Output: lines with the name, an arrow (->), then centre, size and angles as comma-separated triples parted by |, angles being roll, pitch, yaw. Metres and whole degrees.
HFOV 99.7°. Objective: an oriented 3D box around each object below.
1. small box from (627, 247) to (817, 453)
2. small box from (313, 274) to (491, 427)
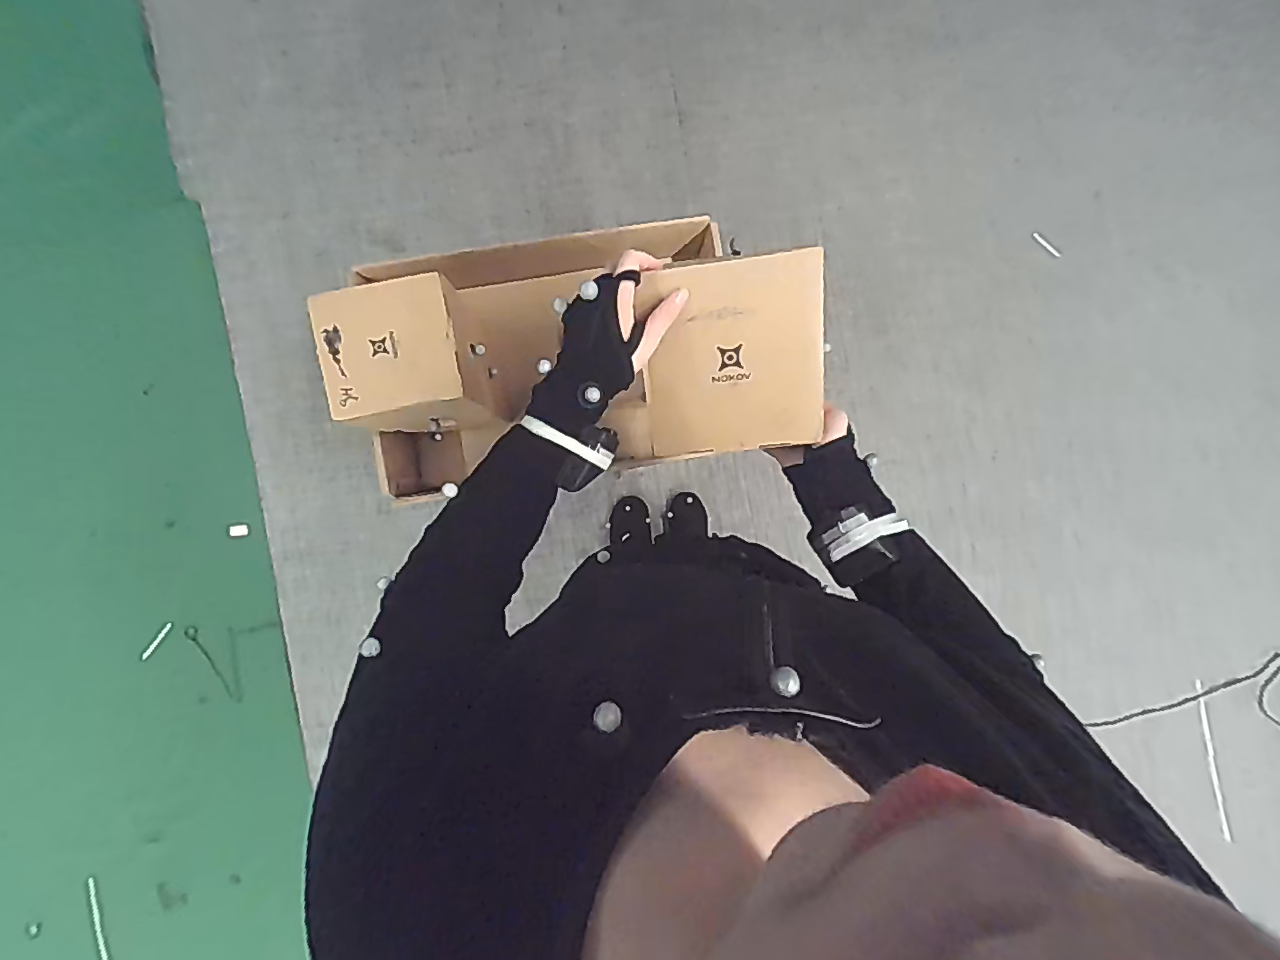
small box -> 0.090, -0.142, 0.569 | 0.168, 0.176, 0.179 | -4, 112, 10
small box -> -0.322, -0.174, 0.774 | 0.179, 0.176, 0.168 | -10, 91, -1
